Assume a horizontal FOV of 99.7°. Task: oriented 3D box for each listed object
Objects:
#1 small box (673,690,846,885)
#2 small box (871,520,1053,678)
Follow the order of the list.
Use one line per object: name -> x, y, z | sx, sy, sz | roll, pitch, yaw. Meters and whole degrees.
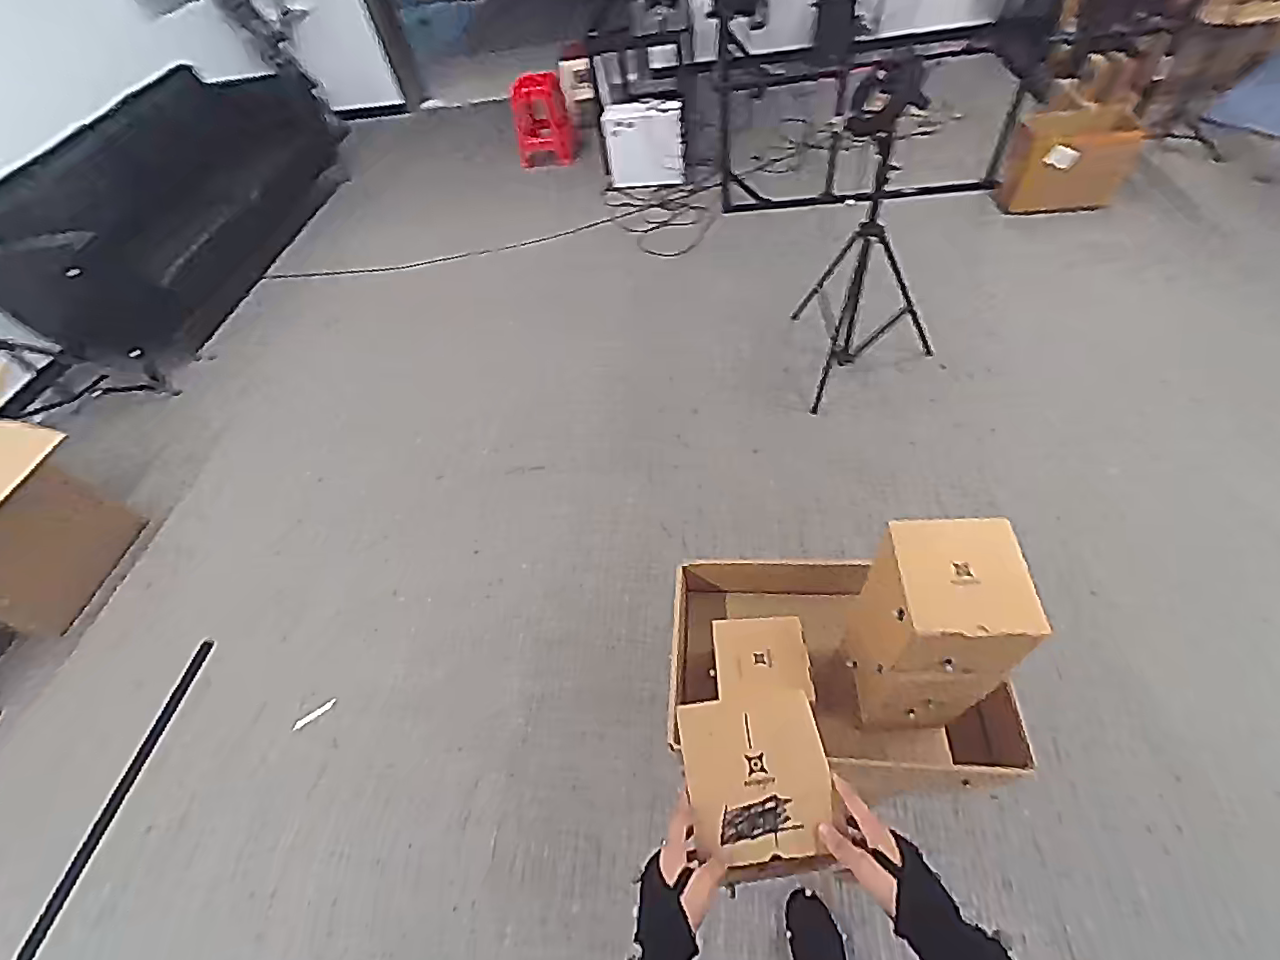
small box -> 0.138, 0.390, 0.679 | 0.168, 0.176, 0.179 | -9, 47, 1
small box -> 0.453, 0.177, 0.798 | 0.168, 0.176, 0.179 | -2, 54, 10
